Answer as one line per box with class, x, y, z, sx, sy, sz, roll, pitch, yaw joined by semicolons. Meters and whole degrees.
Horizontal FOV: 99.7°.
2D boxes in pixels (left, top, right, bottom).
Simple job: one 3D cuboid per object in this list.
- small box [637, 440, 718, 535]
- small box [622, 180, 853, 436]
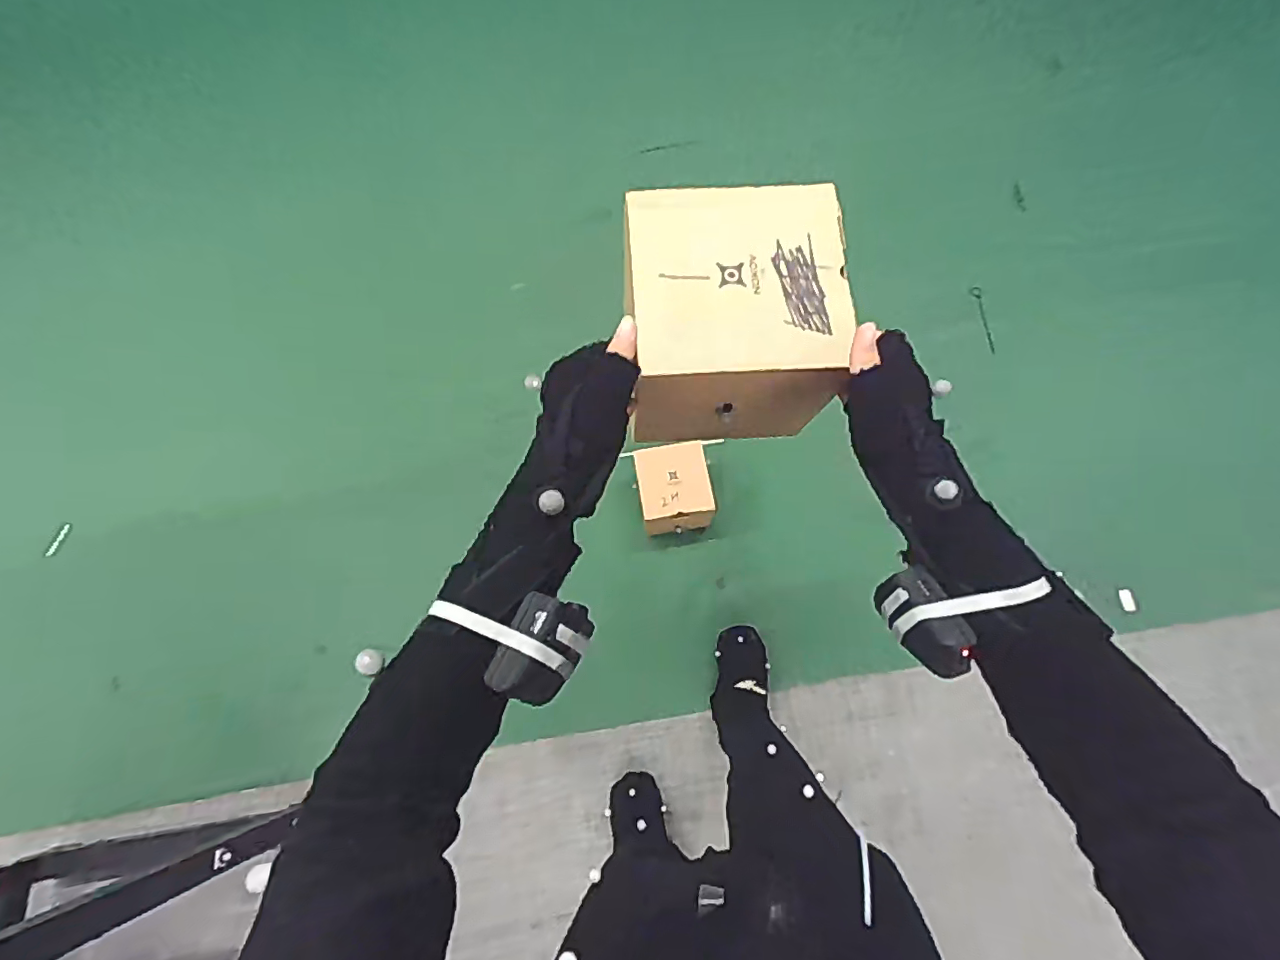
small box;0.087;0.023;1.326;0.168;0.176;0.179;-10;72;0
small box;0.073;-0.146;0.507;0.179;0.176;0.168;0;75;-2
